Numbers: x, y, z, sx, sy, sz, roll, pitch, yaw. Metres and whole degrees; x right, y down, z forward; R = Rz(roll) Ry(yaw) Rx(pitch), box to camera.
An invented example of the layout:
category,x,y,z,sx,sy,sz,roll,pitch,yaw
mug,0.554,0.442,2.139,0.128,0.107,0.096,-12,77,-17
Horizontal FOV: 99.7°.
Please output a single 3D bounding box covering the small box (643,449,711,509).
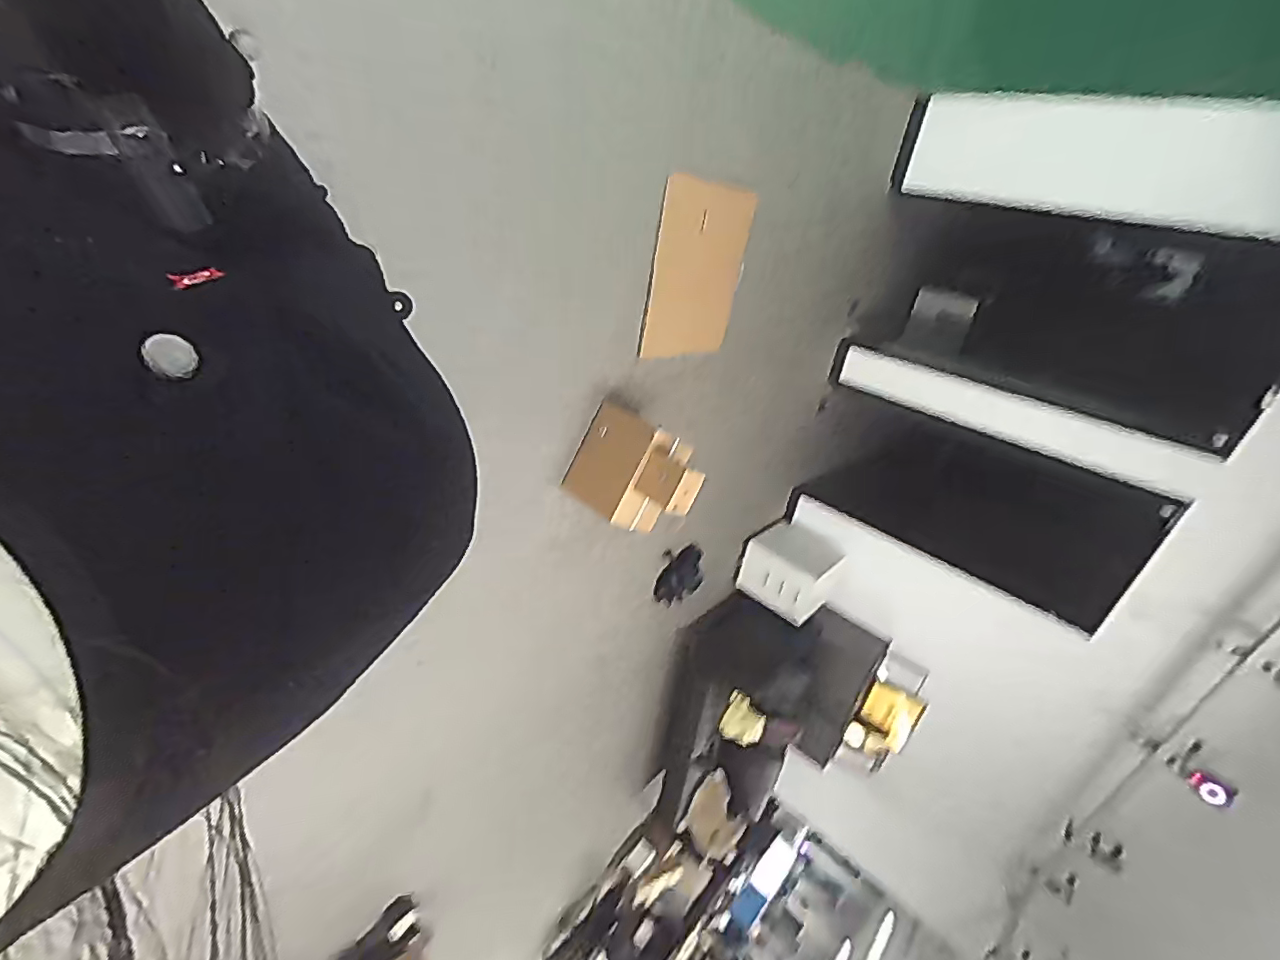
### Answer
category,x,y,z,sx,sy,sz,roll,pitch,yaw
small box,0.138,-0.004,2.081,0.168,0.176,0.179,10,108,-56
